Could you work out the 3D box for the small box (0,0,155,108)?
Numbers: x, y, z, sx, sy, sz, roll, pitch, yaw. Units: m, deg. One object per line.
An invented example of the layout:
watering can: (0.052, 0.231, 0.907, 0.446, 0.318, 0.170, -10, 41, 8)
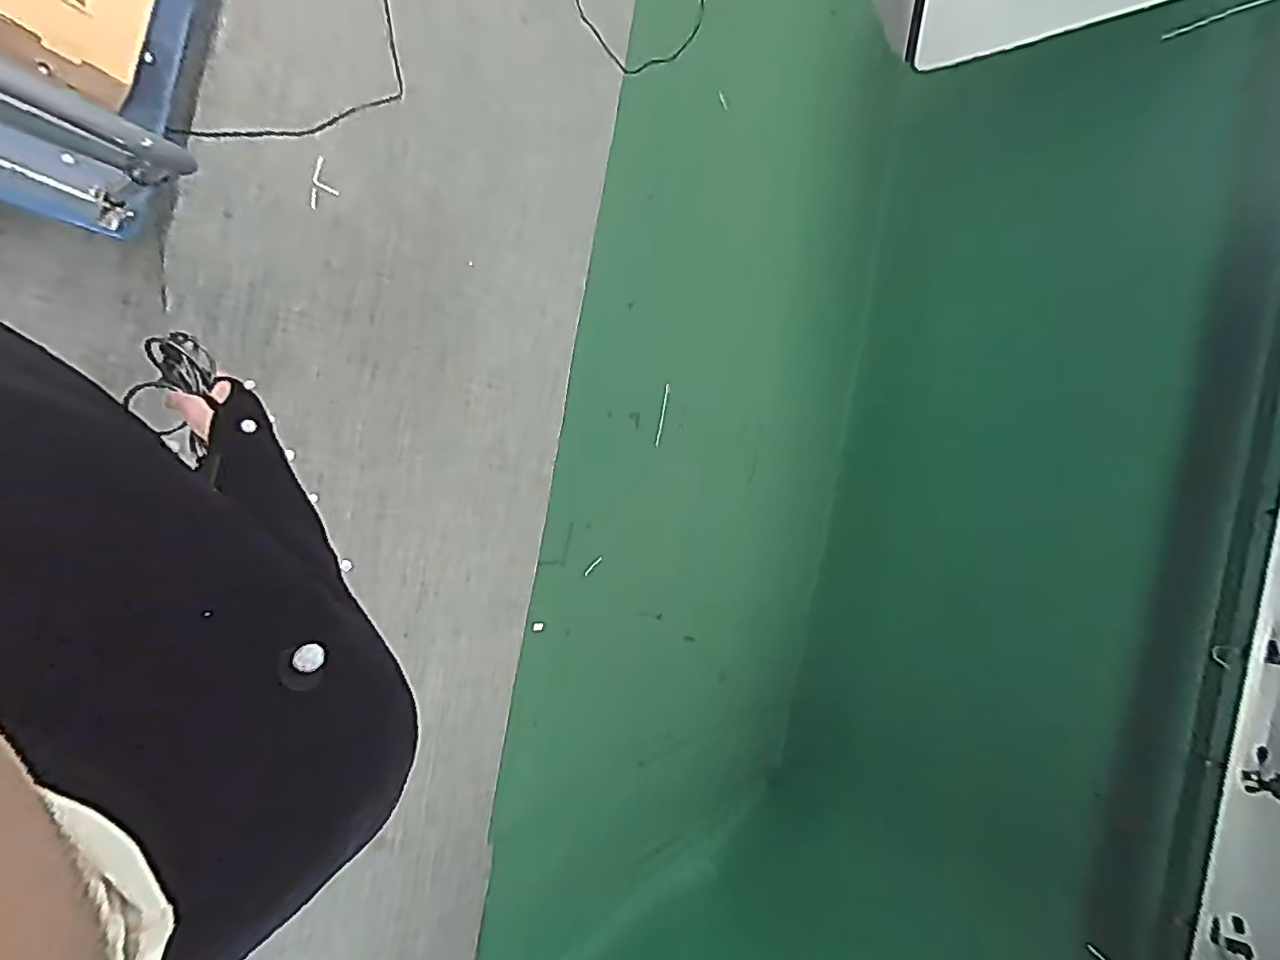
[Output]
small box: (-0.951, -0.771, 0.898, 0.168, 0.176, 0.179, 16, 88, -51)
